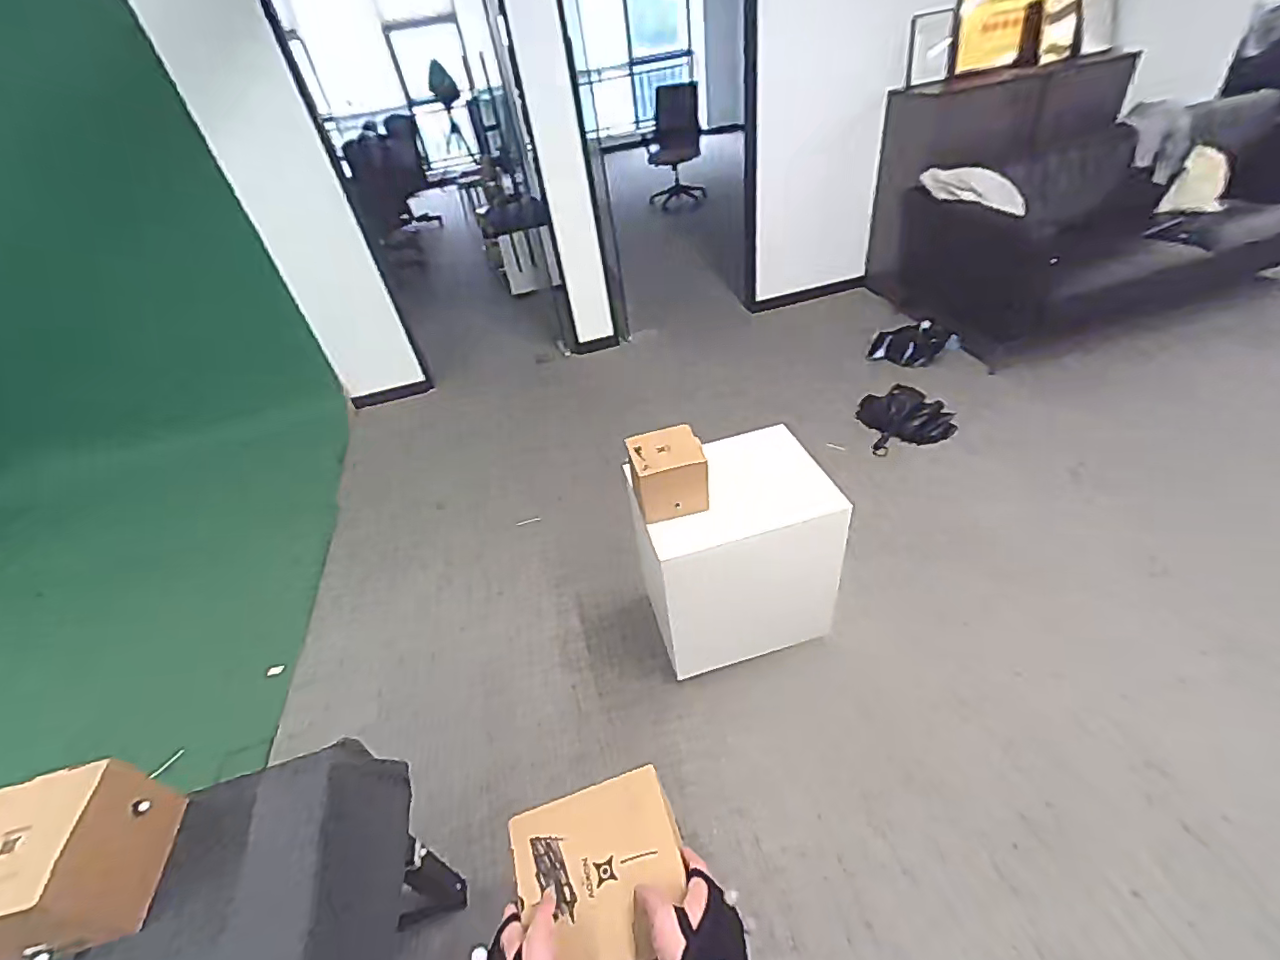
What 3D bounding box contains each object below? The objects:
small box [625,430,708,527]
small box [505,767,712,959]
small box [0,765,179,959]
[{"bbox_3d":[0.068,-0.003,1.401,0.179,0.176,0.168,-13,39,-7],"label":"small box"},{"bbox_3d":[-0.033,0.462,0.604,0.179,0.176,0.168,-19,43,-6],"label":"small box"},{"bbox_3d":[-0.785,0.528,0.732,0.168,0.176,0.179,-15,41,-5],"label":"small box"}]
